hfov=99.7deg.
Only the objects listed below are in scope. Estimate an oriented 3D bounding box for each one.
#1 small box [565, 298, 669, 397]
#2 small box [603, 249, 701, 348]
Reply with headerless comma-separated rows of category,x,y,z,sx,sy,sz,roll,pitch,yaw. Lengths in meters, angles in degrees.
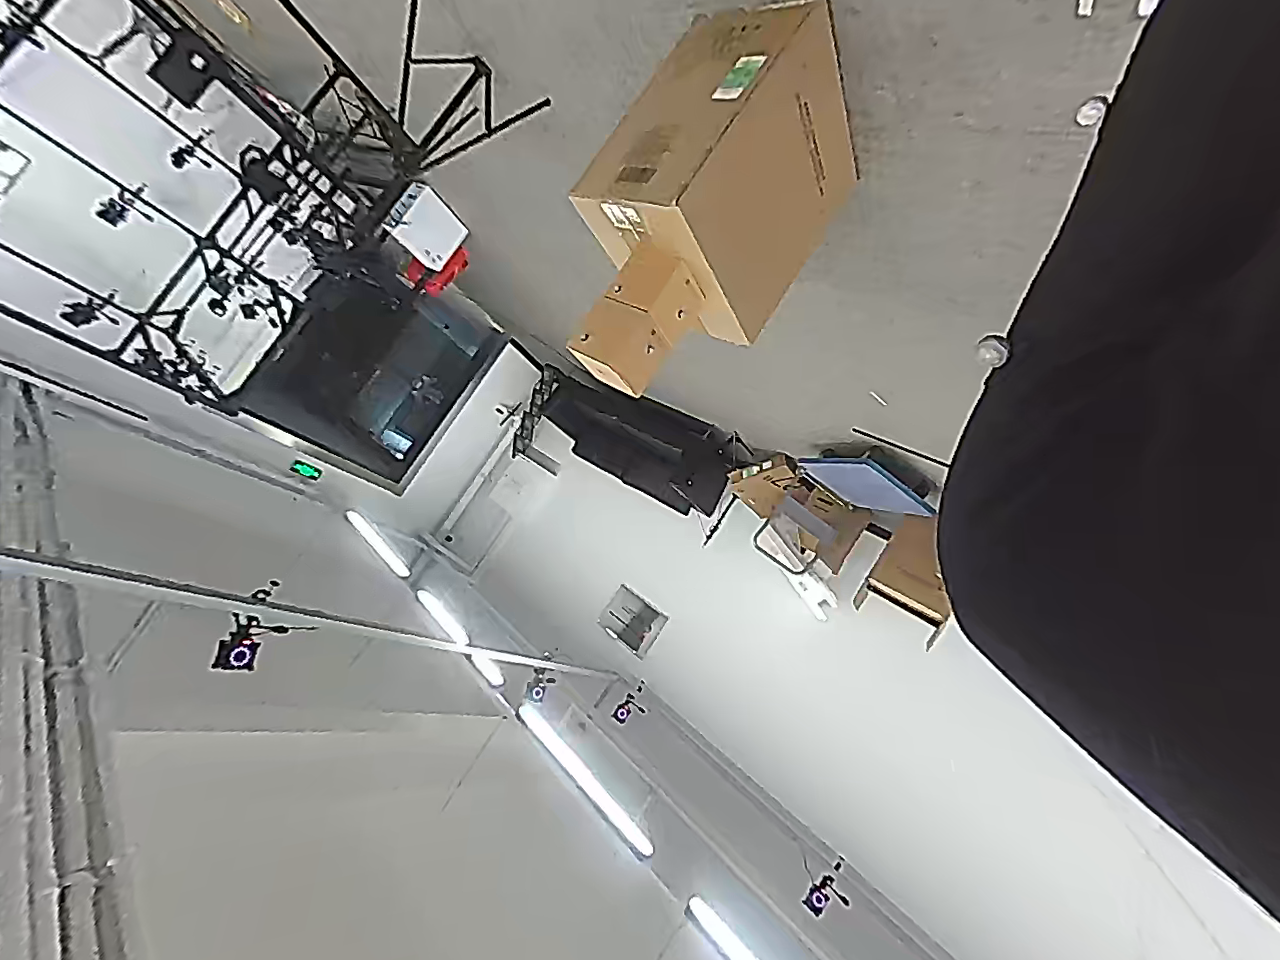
small box,-0.057,-0.351,1.421,0.179,0.176,0.168,31,175,33
small box,0.041,-0.485,1.432,0.179,0.176,0.168,31,175,35
